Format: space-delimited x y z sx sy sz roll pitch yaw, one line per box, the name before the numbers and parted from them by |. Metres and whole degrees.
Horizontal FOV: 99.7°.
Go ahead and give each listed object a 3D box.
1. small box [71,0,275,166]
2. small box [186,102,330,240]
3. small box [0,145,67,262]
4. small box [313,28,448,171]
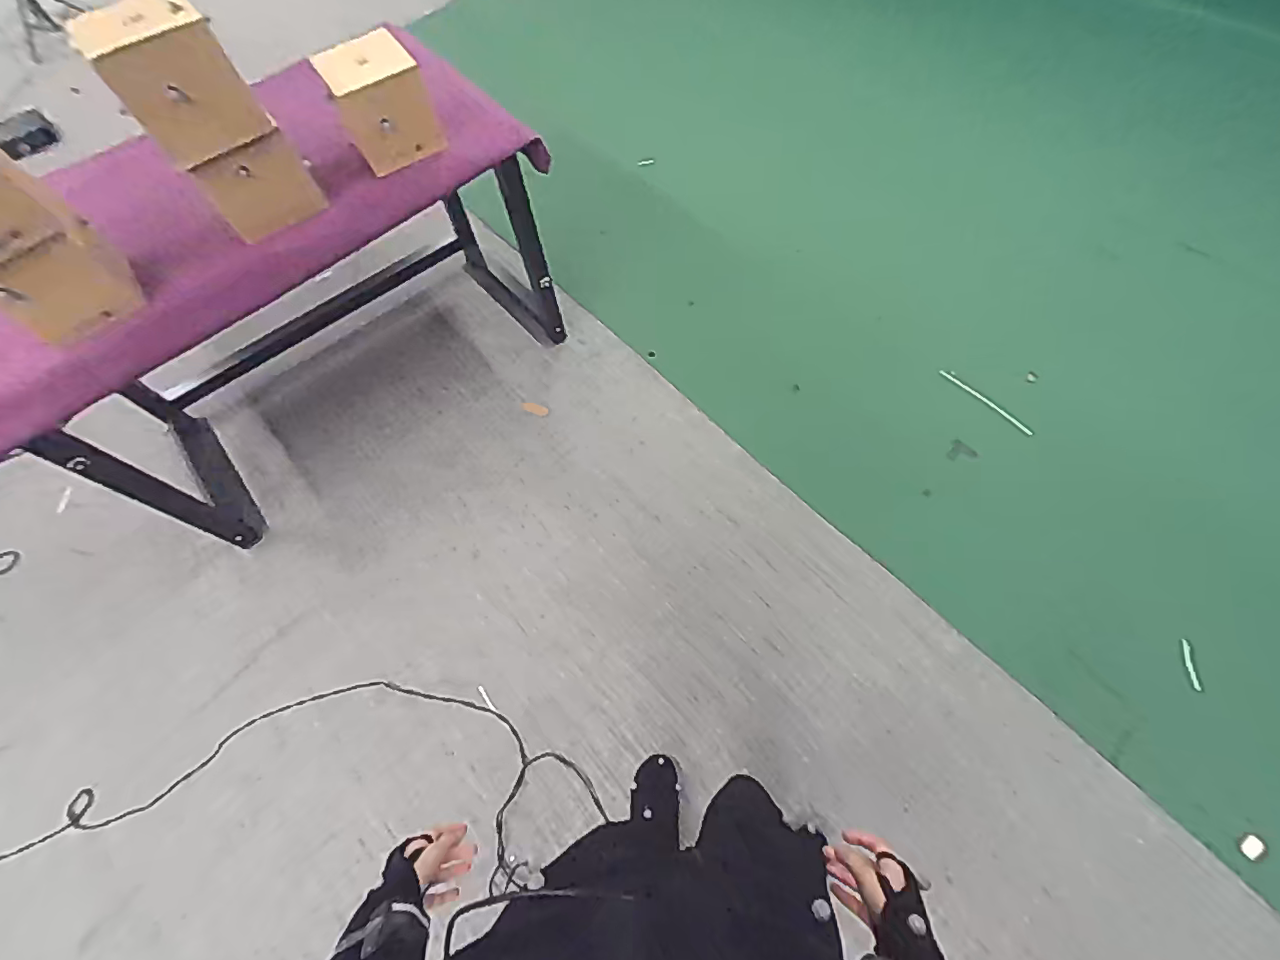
small box | -0.761 -0.663 0.896 0.179 0.176 0.168 -37 67 -13
small box | -0.752 -0.605 1.050 0.179 0.176 0.168 -35 66 -14
small box | -1.034 -0.444 0.805 0.168 0.176 0.179 -42 68 -15
small box | -0.528 -0.777 1.121 0.168 0.176 0.179 -32 66 -11
